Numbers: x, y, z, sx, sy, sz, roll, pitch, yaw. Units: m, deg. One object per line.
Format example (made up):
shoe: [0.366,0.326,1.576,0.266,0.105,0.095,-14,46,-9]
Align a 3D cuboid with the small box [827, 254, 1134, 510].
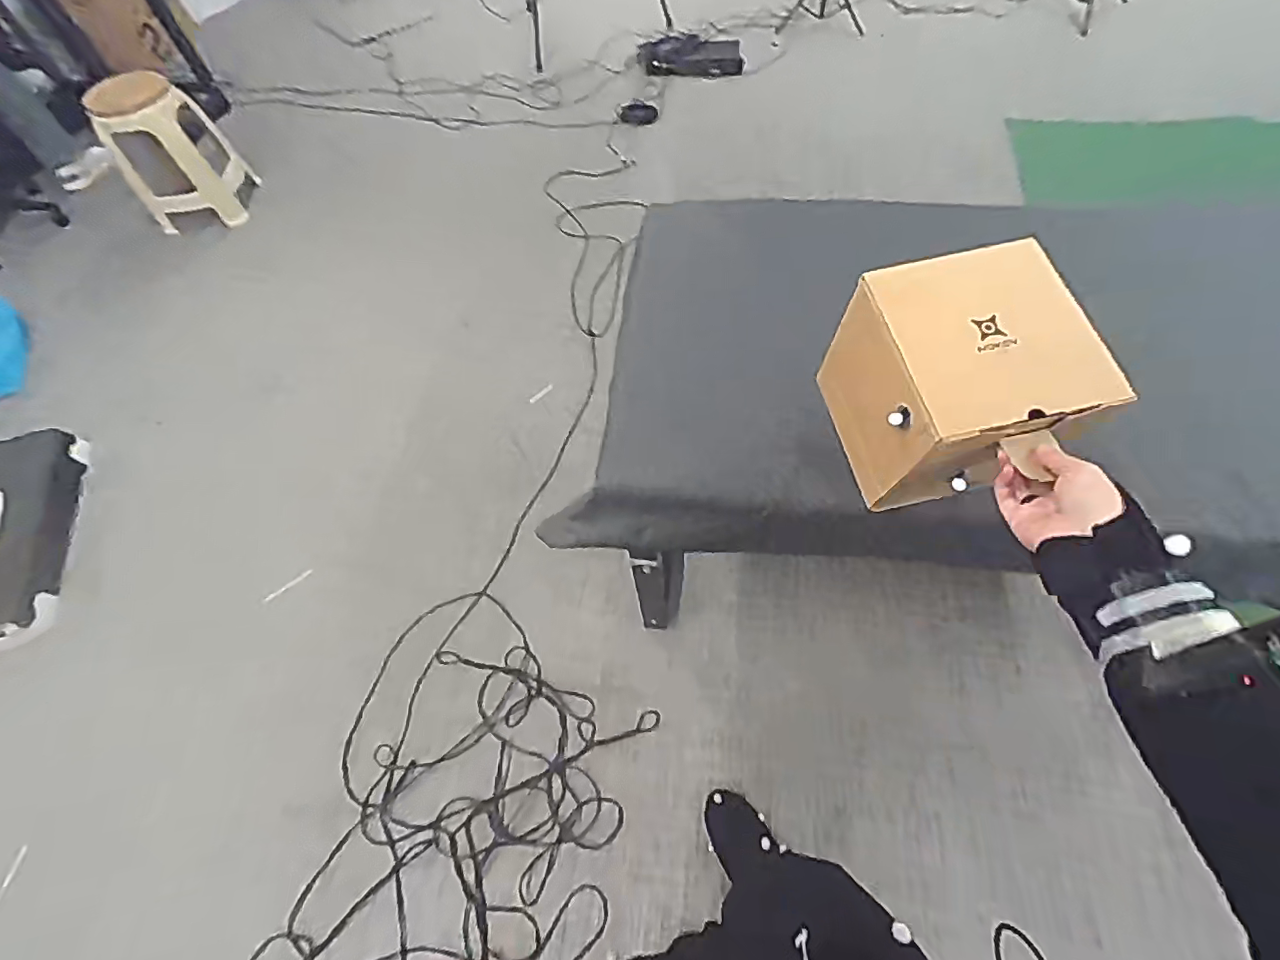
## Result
small box: [0.311,-0.090,0.544,0.168,0.176,0.179,-11,66,-3]
